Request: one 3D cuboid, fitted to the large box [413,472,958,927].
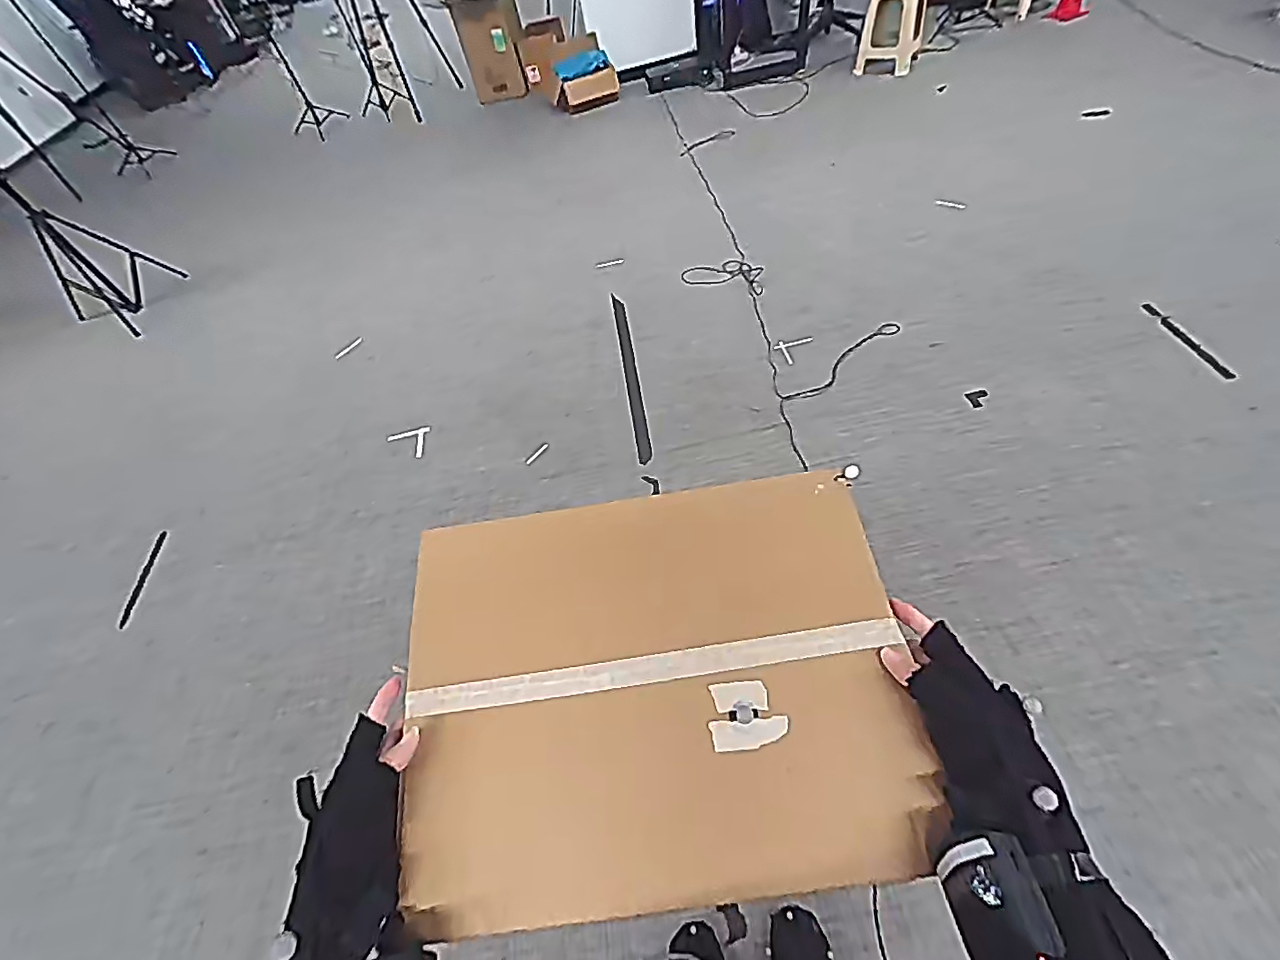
[{"bbox_3d":[0.023,0.227,0.585,0.408,0.320,0.320,-9,61,0],"label":"large box"}]
